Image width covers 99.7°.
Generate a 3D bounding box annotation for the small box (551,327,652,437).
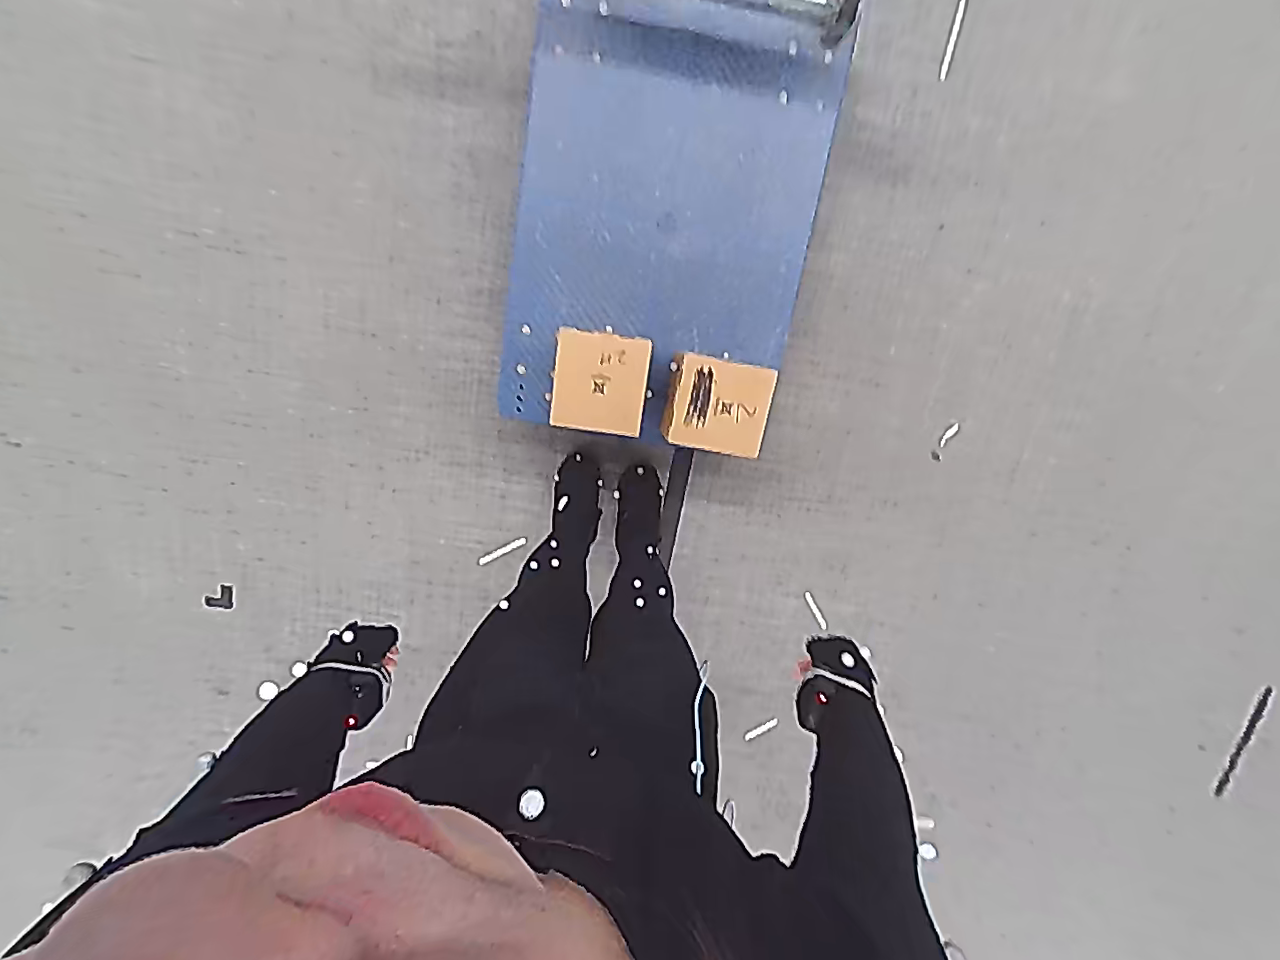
[{"bbox_3d":[-0.072,-0.192,1.049,0.168,0.176,0.179,8,103,-4],"label":"small box"}]
